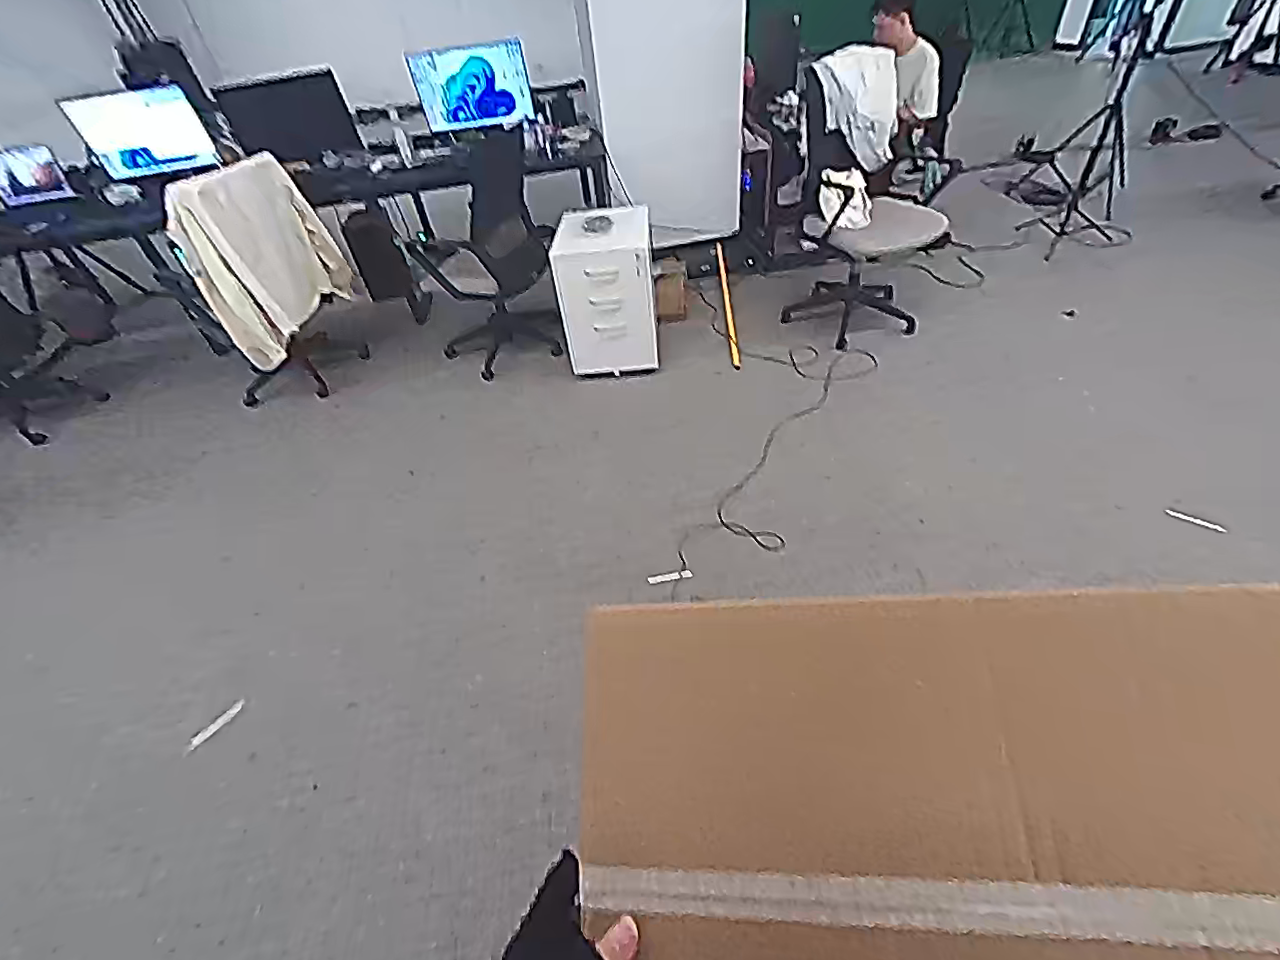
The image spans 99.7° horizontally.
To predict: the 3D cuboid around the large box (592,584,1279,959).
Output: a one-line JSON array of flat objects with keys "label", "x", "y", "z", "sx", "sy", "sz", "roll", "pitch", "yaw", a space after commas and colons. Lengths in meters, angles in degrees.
[{"label": "large box", "x": 0.193, "y": 0.271, "z": 0.427, "sx": 0.408, "sy": 0.320, "sz": 0.320, "roll": -5, "pitch": 70, "yaw": 10}]
